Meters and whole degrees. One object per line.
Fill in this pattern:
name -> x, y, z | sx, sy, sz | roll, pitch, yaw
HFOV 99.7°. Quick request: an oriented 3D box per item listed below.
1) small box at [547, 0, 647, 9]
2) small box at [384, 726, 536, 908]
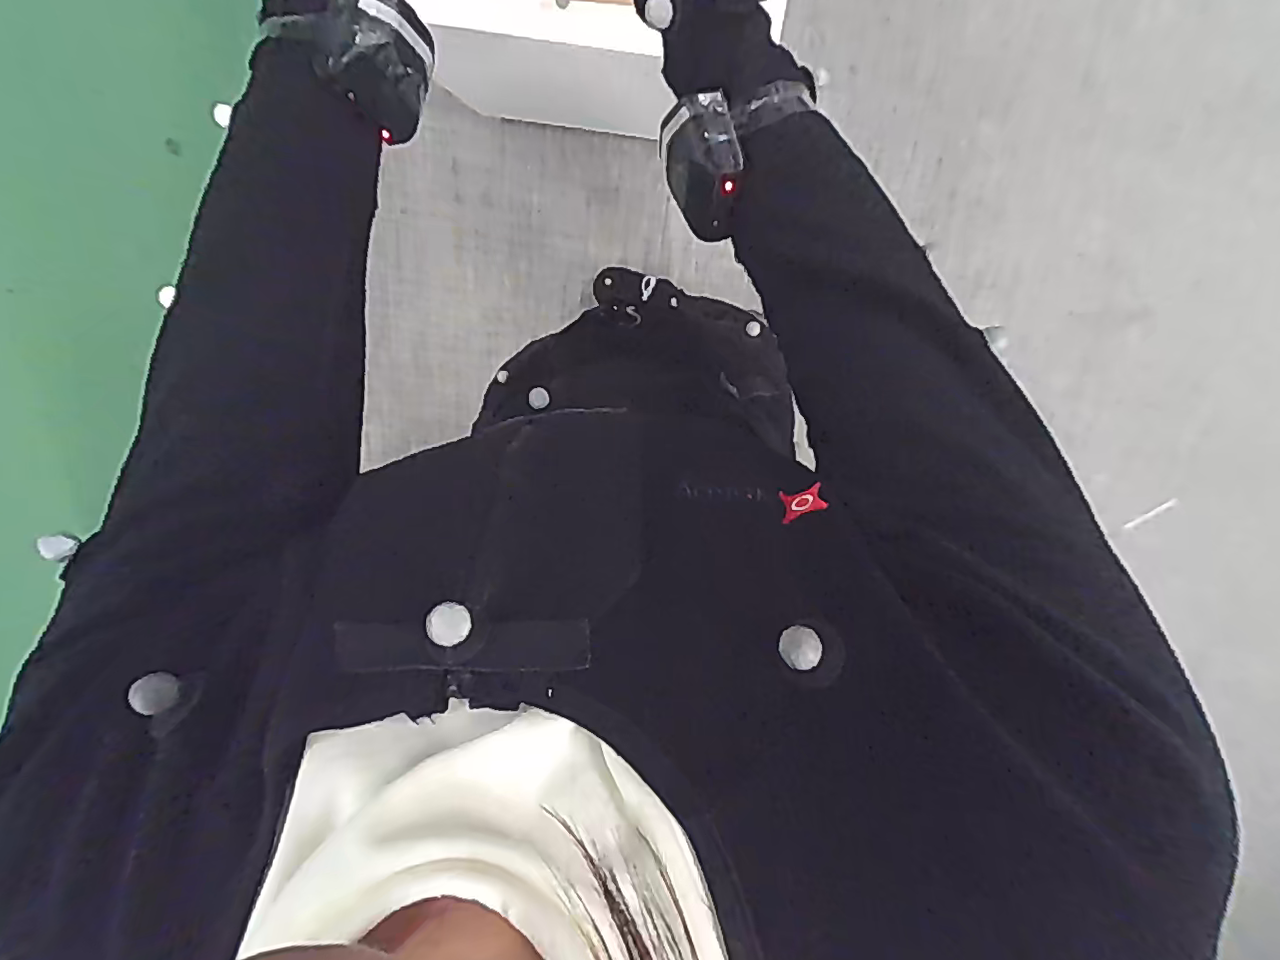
small box -> -0.067, -0.581, 0.497 | 0.168, 0.176, 0.179 | 6, 115, 2
small box -> -0.264, 0.505, 0.826 | 0.179, 0.176, 0.168 | 10, 114, -1
